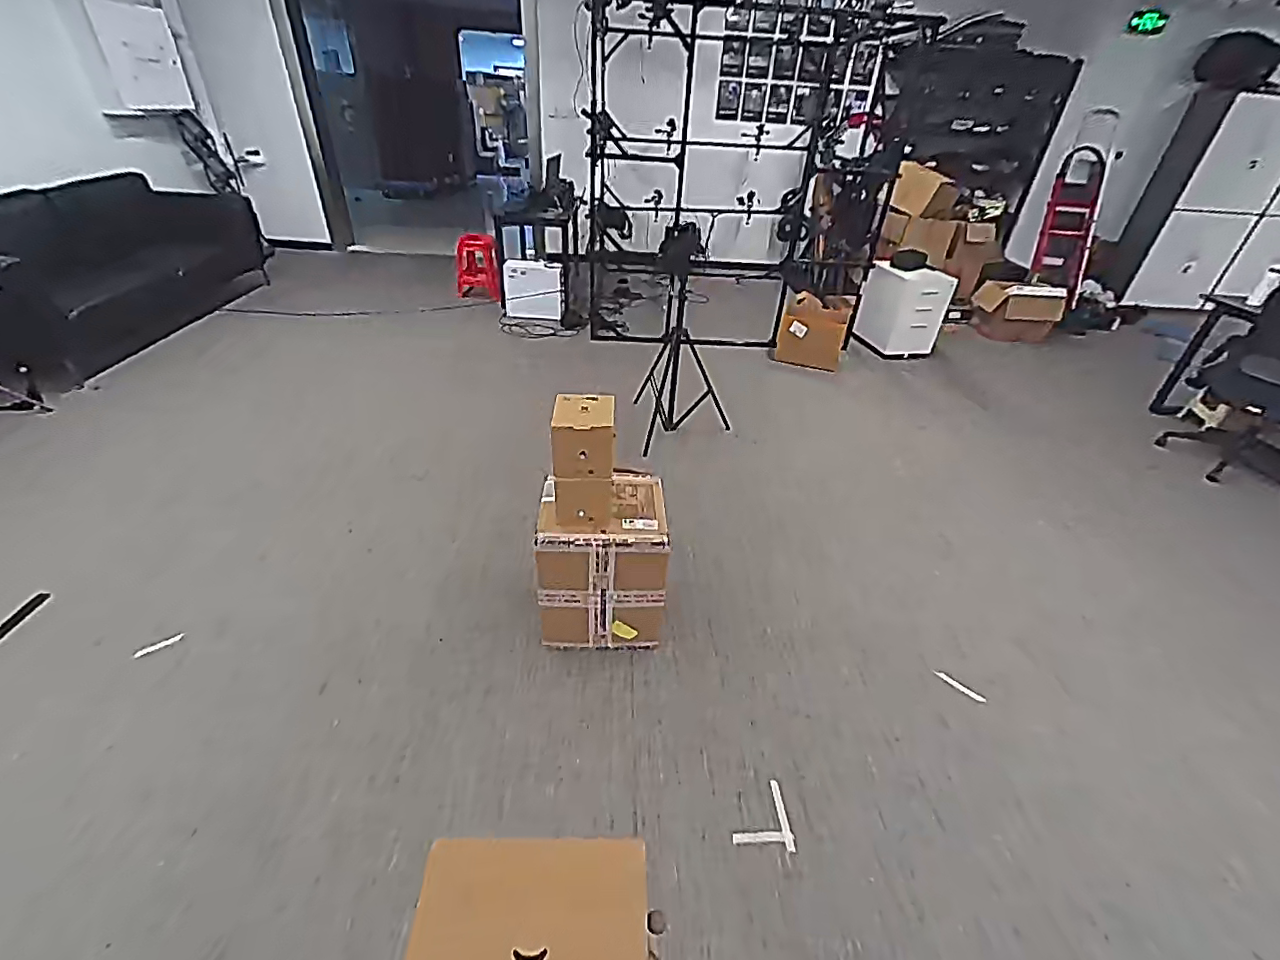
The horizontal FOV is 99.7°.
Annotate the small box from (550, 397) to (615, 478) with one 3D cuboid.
[{"bbox_3d":[-0.156,-0.117,1.522,0.168,0.176,0.179,1,38,-3],"label":"small box"}]

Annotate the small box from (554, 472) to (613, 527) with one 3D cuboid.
[{"bbox_3d":[-0.166,0.021,1.611,0.168,0.176,0.179,0,38,-4],"label":"small box"}]
